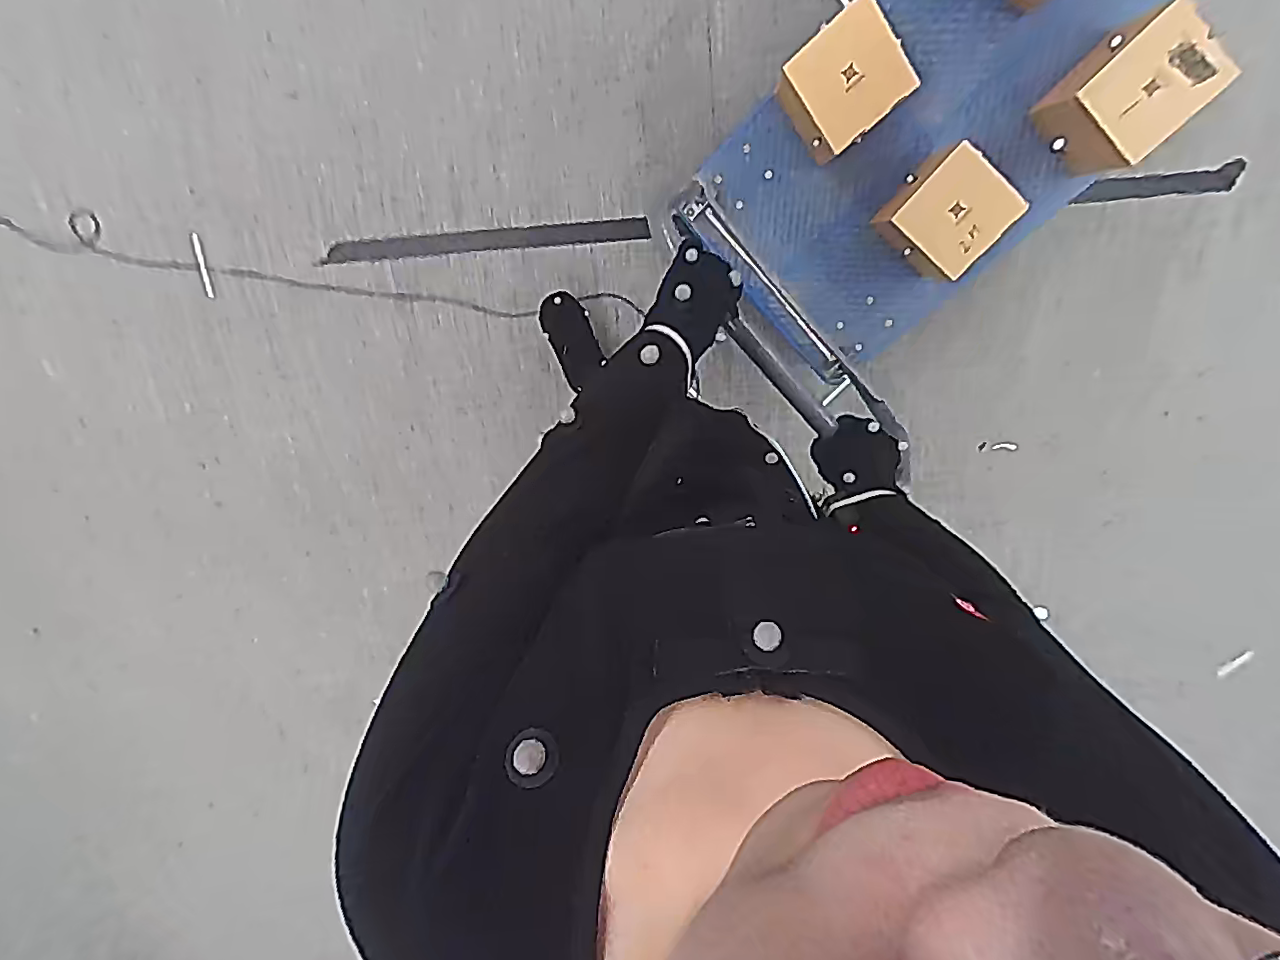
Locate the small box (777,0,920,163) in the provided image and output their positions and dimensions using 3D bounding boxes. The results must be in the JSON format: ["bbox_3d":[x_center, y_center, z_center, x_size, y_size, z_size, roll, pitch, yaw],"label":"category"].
[{"bbox_3d":[0.371,-0.721,0.998,0.168,0.176,0.179,-35,106,21],"label":"small box"}]

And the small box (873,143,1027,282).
[{"bbox_3d":[0.589,-0.511,1.057,0.179,0.176,0.168,39,114,-9],"label":"small box"}]

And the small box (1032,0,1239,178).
[{"bbox_3d":[0.850,-0.666,0.949,0.168,0.176,0.179,42,114,-10],"label":"small box"}]
